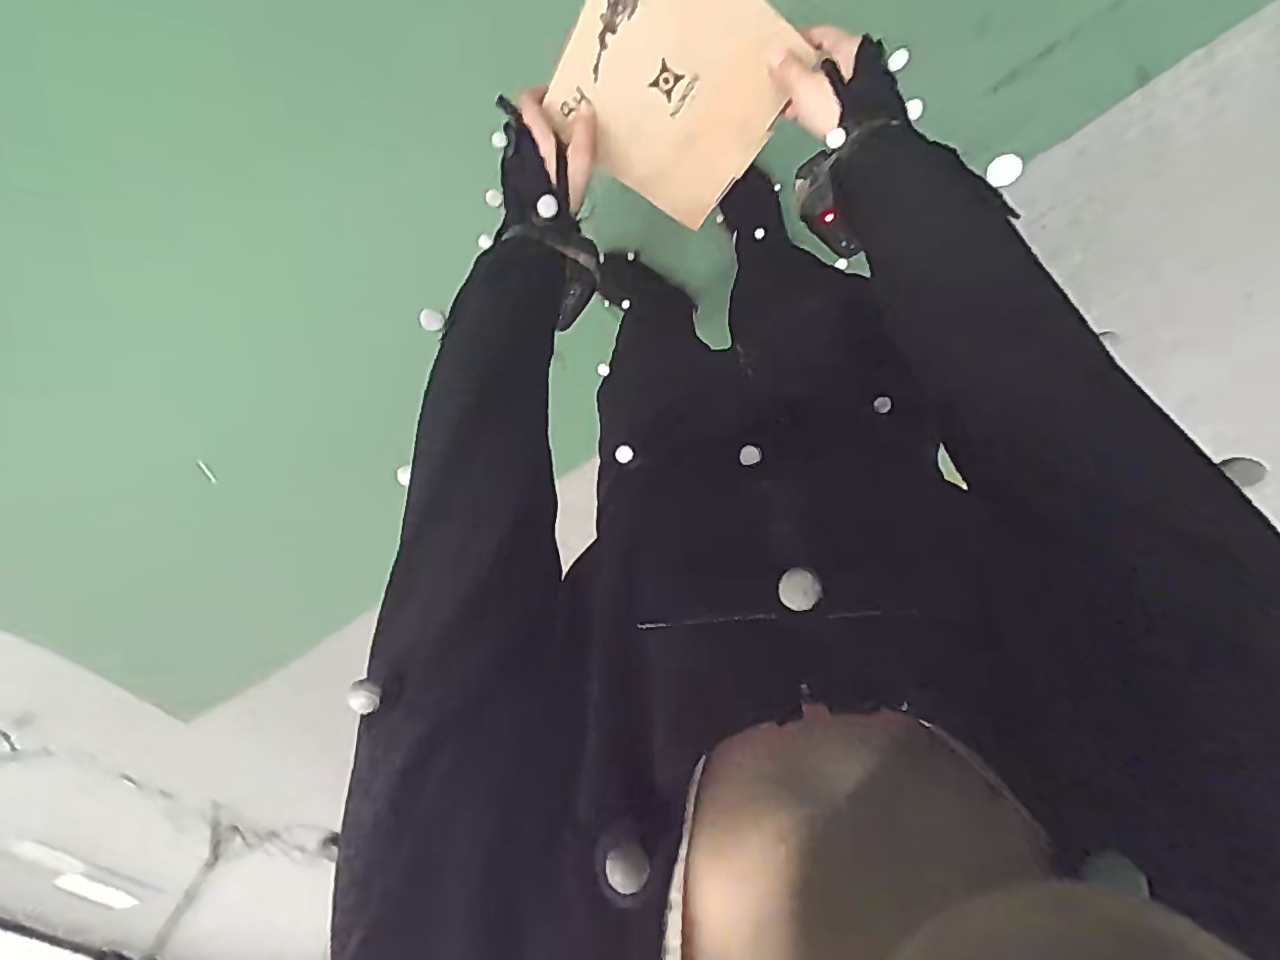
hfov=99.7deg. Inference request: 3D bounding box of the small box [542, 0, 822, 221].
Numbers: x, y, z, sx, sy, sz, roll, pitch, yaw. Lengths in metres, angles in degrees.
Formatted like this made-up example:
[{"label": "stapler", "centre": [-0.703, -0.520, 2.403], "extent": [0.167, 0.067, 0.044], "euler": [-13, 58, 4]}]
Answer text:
[{"label": "small box", "centre": [0.030, -0.387, 0.499], "extent": [0.179, 0.176, 0.168], "euler": [24, 129, -25]}]
